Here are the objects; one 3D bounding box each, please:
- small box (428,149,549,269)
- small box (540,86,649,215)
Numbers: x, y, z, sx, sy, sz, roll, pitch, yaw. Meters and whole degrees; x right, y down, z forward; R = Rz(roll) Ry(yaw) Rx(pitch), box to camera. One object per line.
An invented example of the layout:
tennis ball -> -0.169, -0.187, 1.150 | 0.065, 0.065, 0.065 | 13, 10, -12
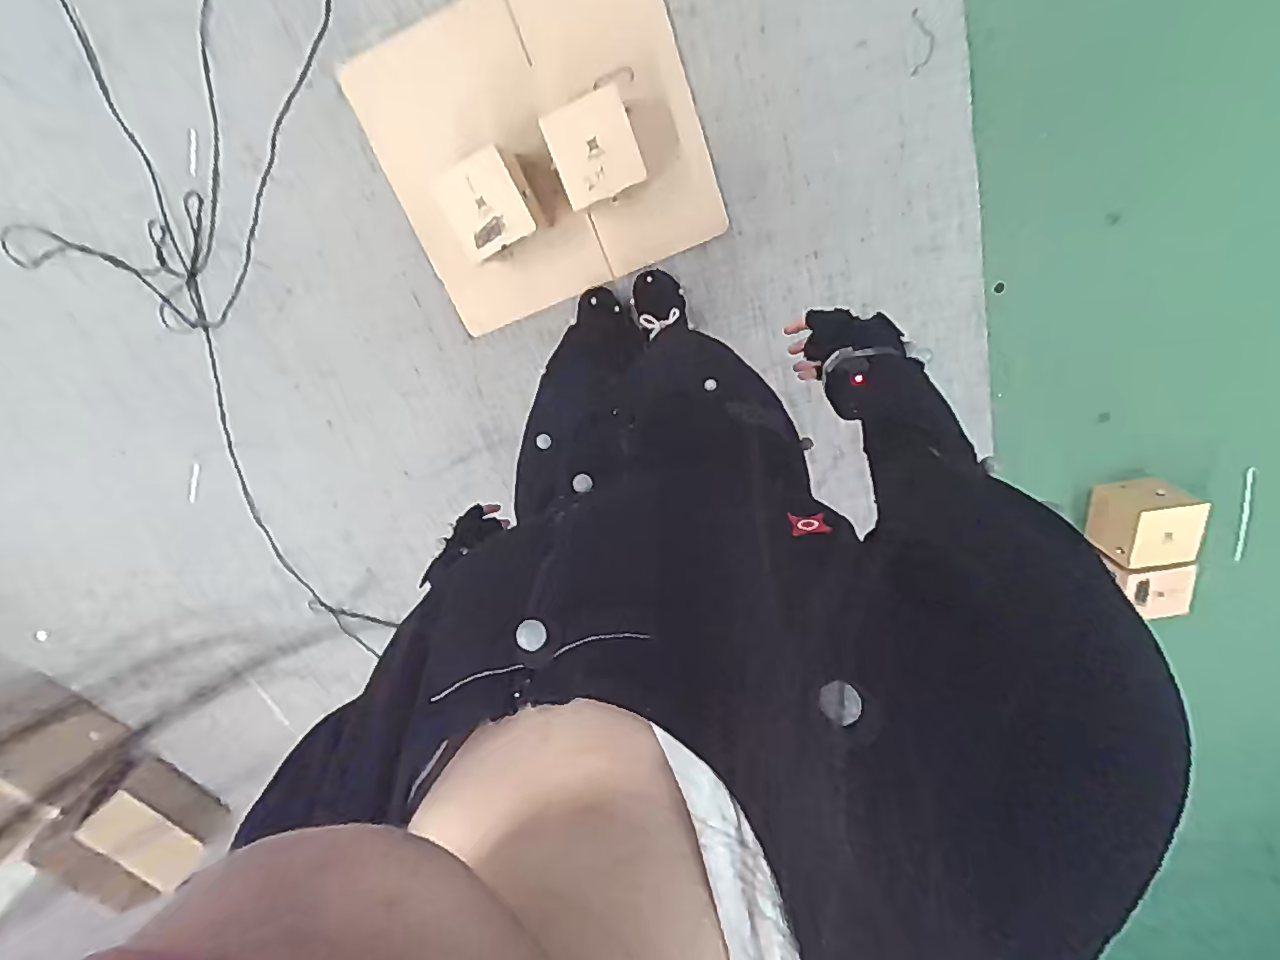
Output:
small box -> -0.318, -0.585, 1.179 | 0.168, 0.176, 0.179 | -24, 111, 13
small box -> -0.088, -0.675, 1.132 | 0.168, 0.176, 0.179 | -19, 113, 12
